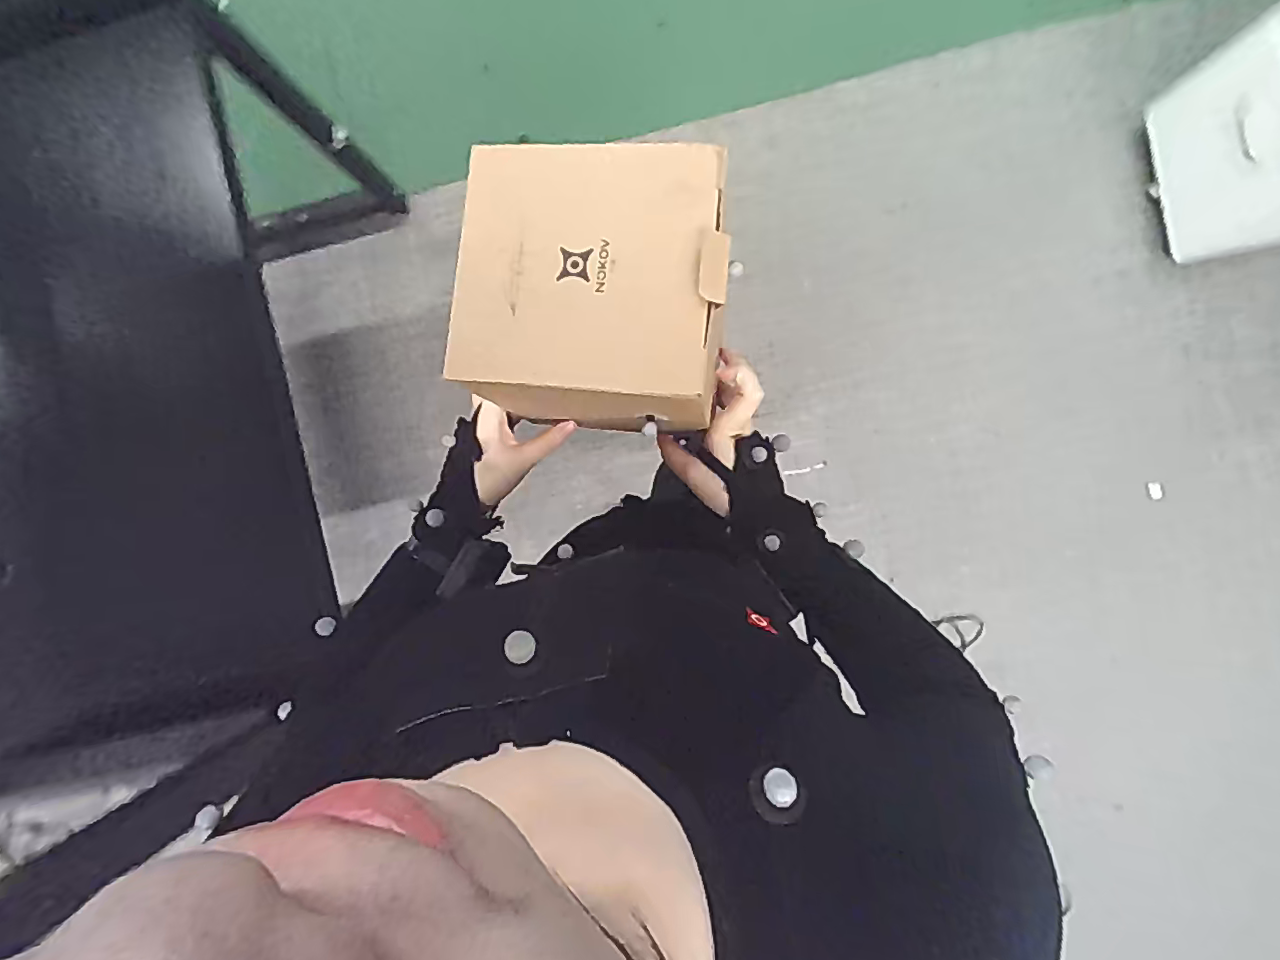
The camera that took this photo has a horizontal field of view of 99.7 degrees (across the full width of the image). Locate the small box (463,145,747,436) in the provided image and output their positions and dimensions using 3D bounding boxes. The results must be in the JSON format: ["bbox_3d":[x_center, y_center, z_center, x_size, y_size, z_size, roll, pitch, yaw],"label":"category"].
[{"bbox_3d":[-0.013,-0.131,0.429,0.179,0.176,0.168,5,86,11],"label":"small box"}]
